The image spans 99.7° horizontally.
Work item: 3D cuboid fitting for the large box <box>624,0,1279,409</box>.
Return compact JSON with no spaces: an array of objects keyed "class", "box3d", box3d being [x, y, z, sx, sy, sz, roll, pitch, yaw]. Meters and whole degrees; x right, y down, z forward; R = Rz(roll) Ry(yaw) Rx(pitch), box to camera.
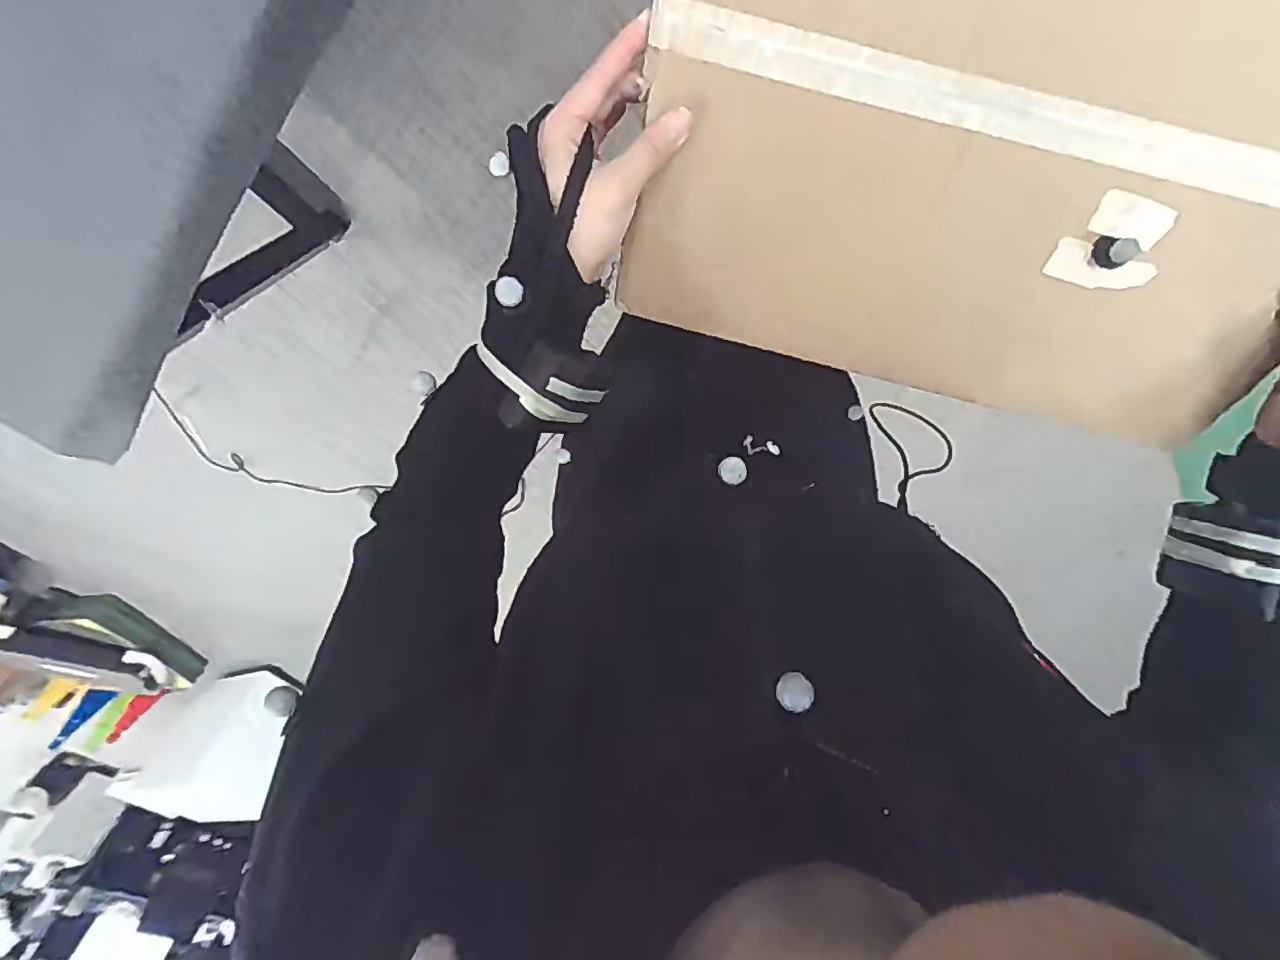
[{"class":"large box","box3d":[0.223,-0.295,0.377,0.408,0.320,0.320,13,132,-1]}]
